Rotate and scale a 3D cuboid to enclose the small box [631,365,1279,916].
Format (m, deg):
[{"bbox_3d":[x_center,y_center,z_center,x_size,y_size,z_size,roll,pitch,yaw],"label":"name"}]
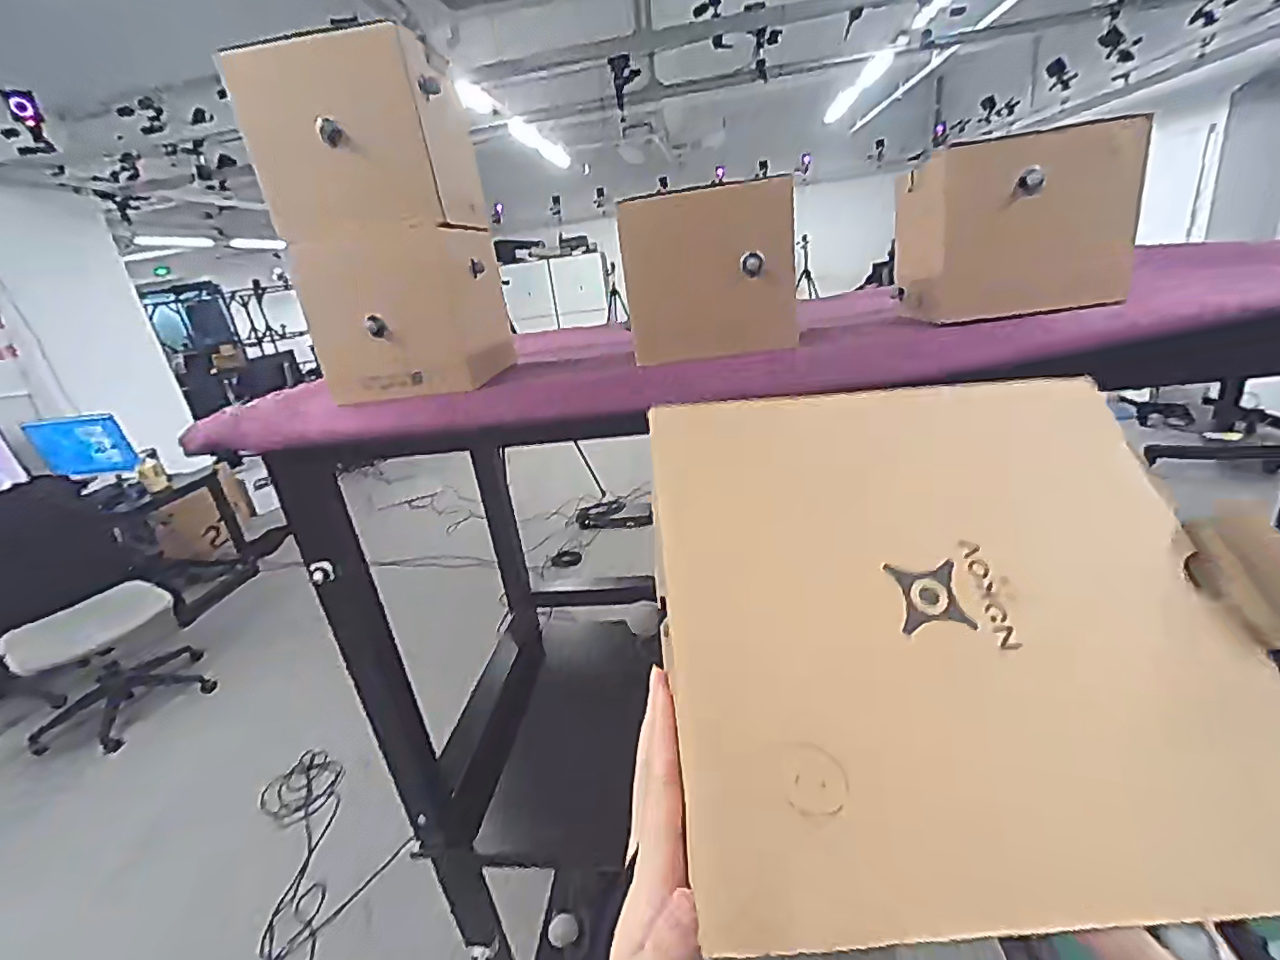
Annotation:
[{"bbox_3d":[0.092,0.072,0.240,0.179,0.176,0.168,-4,61,-1],"label":"small box"}]

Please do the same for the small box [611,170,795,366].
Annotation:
[{"bbox_3d":[0.075,-0.235,0.615,0.179,0.176,0.168,-6,22,7],"label":"small box"}]

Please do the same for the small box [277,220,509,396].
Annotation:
[{"bbox_3d":[-0.266,-0.198,0.633,0.168,0.176,0.179,-4,23,6],"label":"small box"}]

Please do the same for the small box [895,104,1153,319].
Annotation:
[{"bbox_3d":[0.395,-0.275,0.592,0.179,0.176,0.168,-4,20,10],"label":"small box"}]
